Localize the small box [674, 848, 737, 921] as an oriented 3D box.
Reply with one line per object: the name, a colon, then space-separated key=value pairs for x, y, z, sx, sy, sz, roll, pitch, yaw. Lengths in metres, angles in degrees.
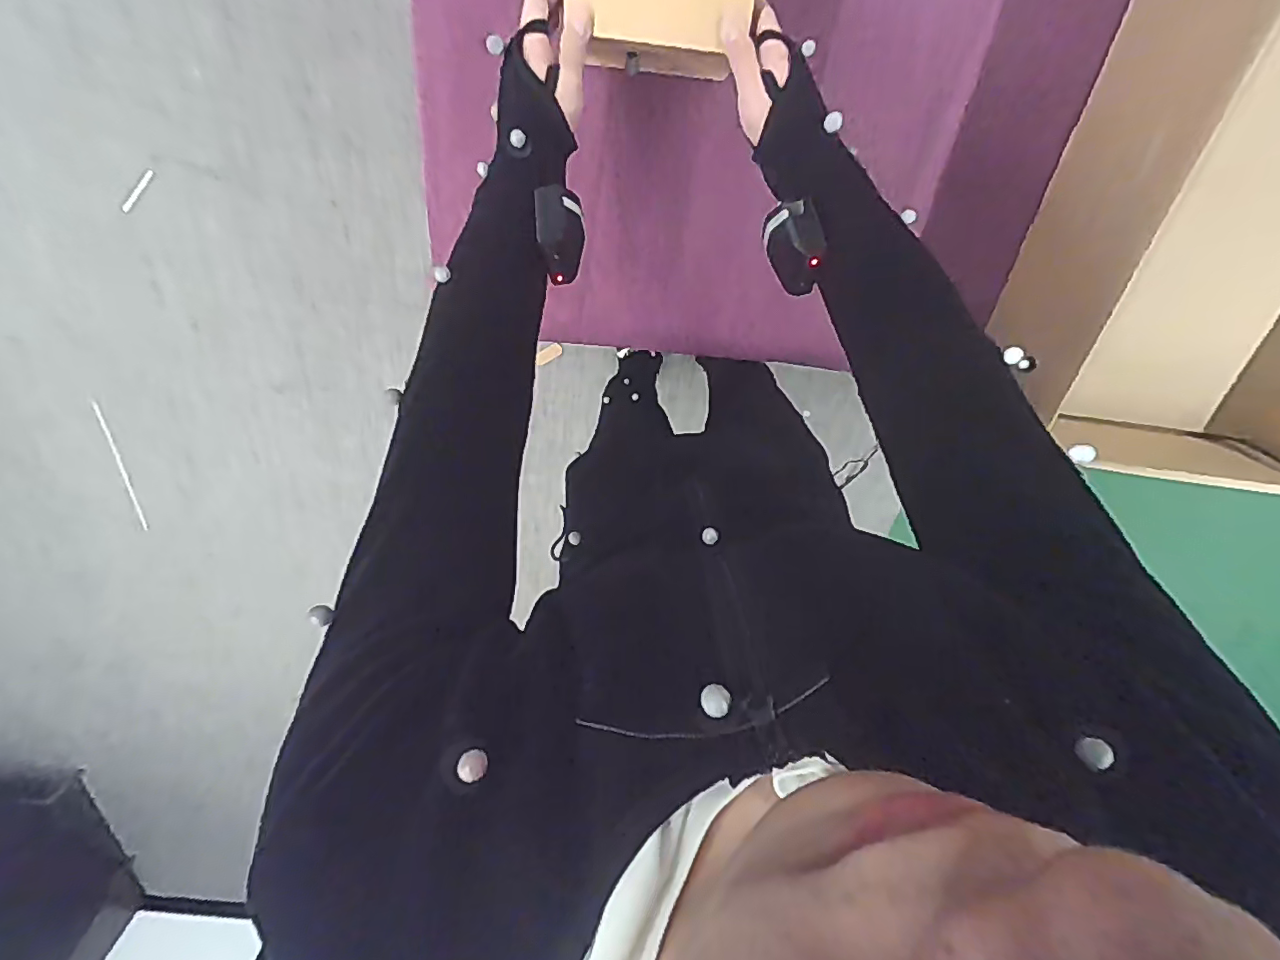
small box: x=0.222 y=1.404 z=1.853 sx=0.168 sy=0.176 sz=0.179 roll=-21 pitch=115 yaw=12

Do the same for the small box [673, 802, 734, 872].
small box: x=0.231 y=1.331 z=1.998 sx=0.179 sy=0.176 sz=0.168 roll=-22 pitch=116 yaw=13

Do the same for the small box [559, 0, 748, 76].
small box: x=0.022 y=-0.501 z=0.504 sx=0.168 sy=0.176 sz=0.179 roll=6 pitch=119 yaw=-2

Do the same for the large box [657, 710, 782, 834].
large box: x=0.314 y=1.210 z=2.211 sx=0.408 sy=0.320 sz=0.320 roll=-22 pitch=117 yaw=12
